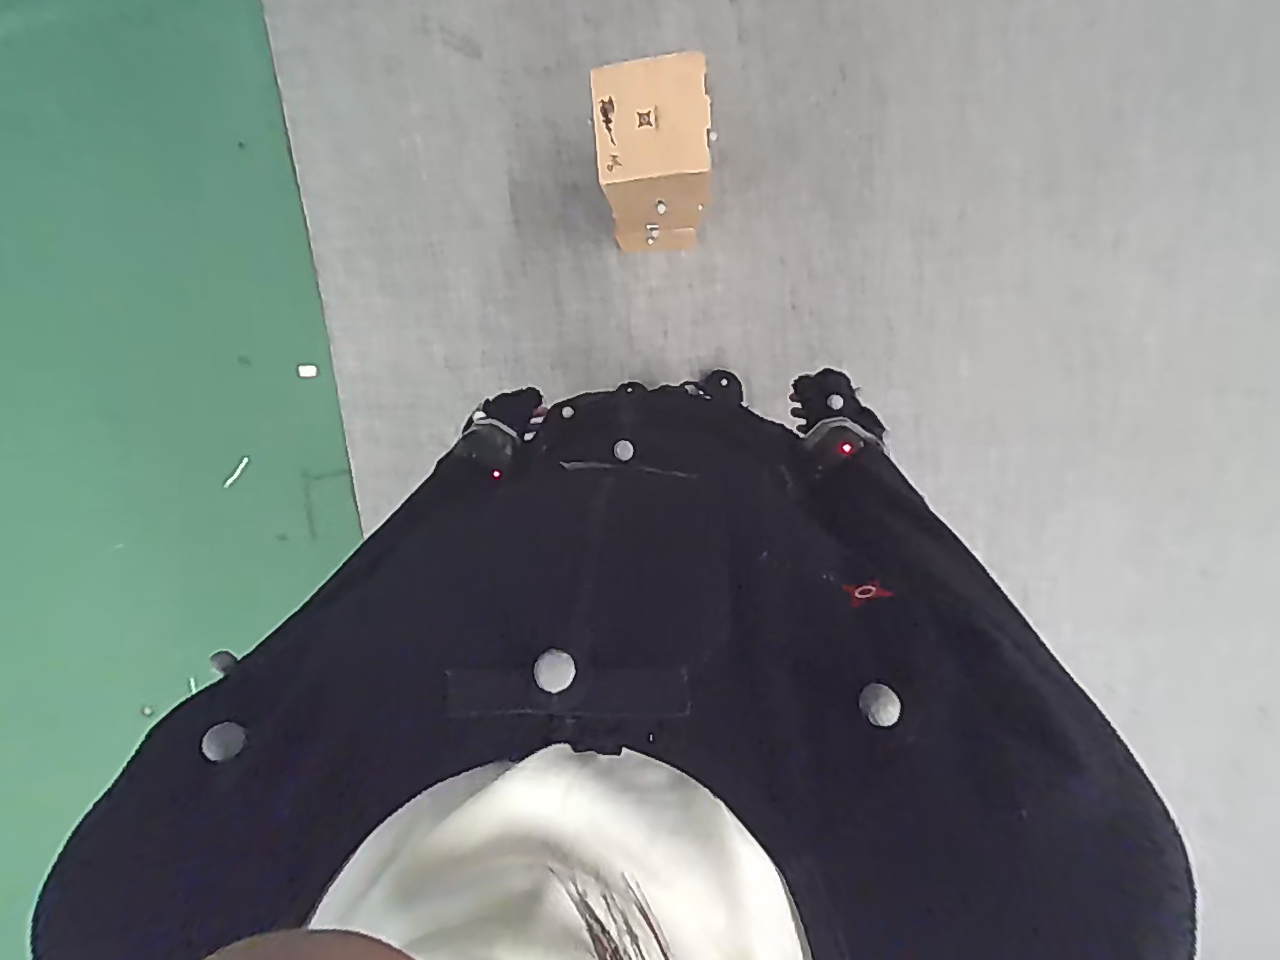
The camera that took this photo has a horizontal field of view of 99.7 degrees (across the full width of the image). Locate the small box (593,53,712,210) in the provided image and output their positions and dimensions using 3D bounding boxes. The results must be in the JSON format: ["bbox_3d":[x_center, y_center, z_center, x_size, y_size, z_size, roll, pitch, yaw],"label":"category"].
[{"bbox_3d":[0.026,-0.568,0.906,0.179,0.176,0.168,-3,101,7],"label":"small box"}]

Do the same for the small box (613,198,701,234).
[{"bbox_3d":[0.034,-0.605,1.066,0.168,0.176,0.179,-3,102,8],"label":"small box"}]

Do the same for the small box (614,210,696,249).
[{"bbox_3d":[0.037,-0.631,1.225,0.179,0.176,0.168,-2,102,5],"label":"small box"}]
